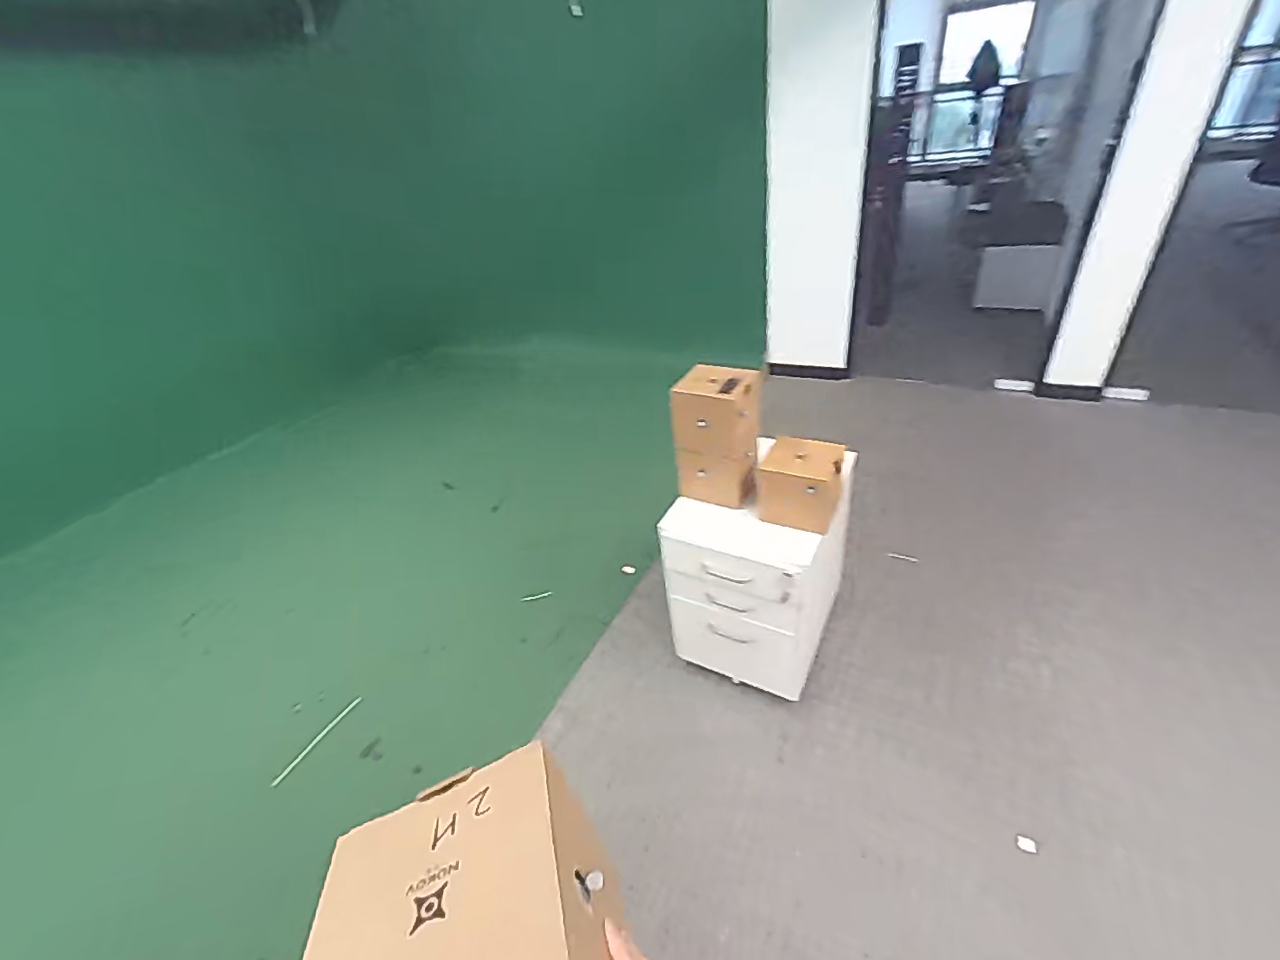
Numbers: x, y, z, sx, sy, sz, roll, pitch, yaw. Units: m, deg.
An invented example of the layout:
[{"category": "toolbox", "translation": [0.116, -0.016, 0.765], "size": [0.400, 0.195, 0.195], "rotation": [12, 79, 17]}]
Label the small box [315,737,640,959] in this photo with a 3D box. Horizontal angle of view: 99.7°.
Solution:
[{"category": "small box", "translation": [-0.097, 0.329, 0.371], "size": [0.168, 0.176, 0.179], "rotation": [-22, 20, -7]}]

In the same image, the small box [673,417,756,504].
[{"category": "small box", "translation": [0.209, -0.053, 1.487], "size": [0.179, 0.176, 0.168], "rotation": [12, 41, 27]}]
